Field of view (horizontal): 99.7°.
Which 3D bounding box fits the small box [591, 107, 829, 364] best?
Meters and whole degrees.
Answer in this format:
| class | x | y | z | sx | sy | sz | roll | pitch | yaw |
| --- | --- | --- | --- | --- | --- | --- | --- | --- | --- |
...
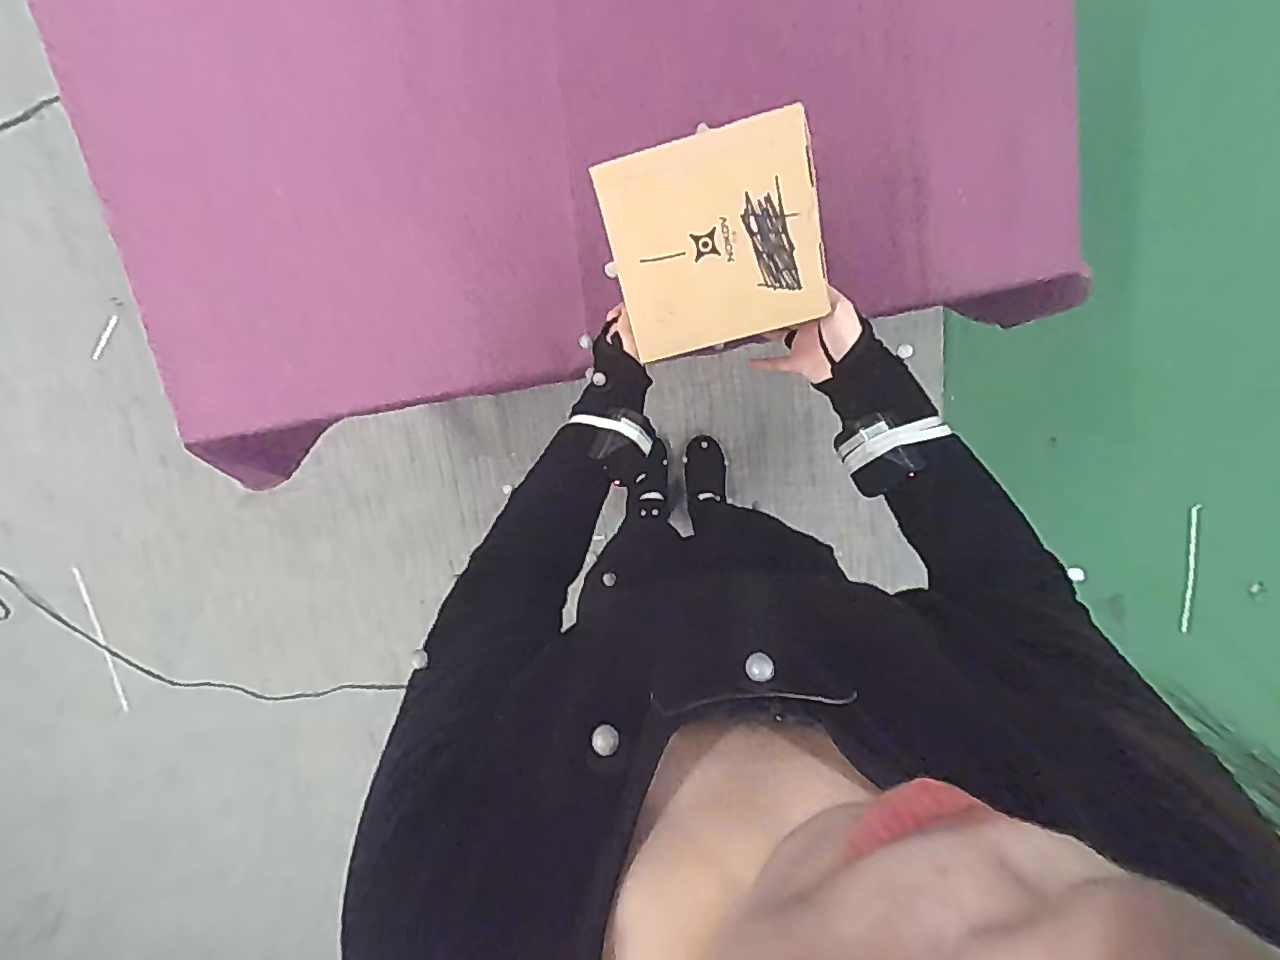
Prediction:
| class | x | y | z | sx | sy | sz | roll | pitch | yaw |
| --- | --- | --- | --- | --- | --- | --- | --- | --- | --- |
| small box | 0.062 | -0.224 | 0.523 | 0.179 | 0.176 | 0.168 | -13 | 110 | 6 |
